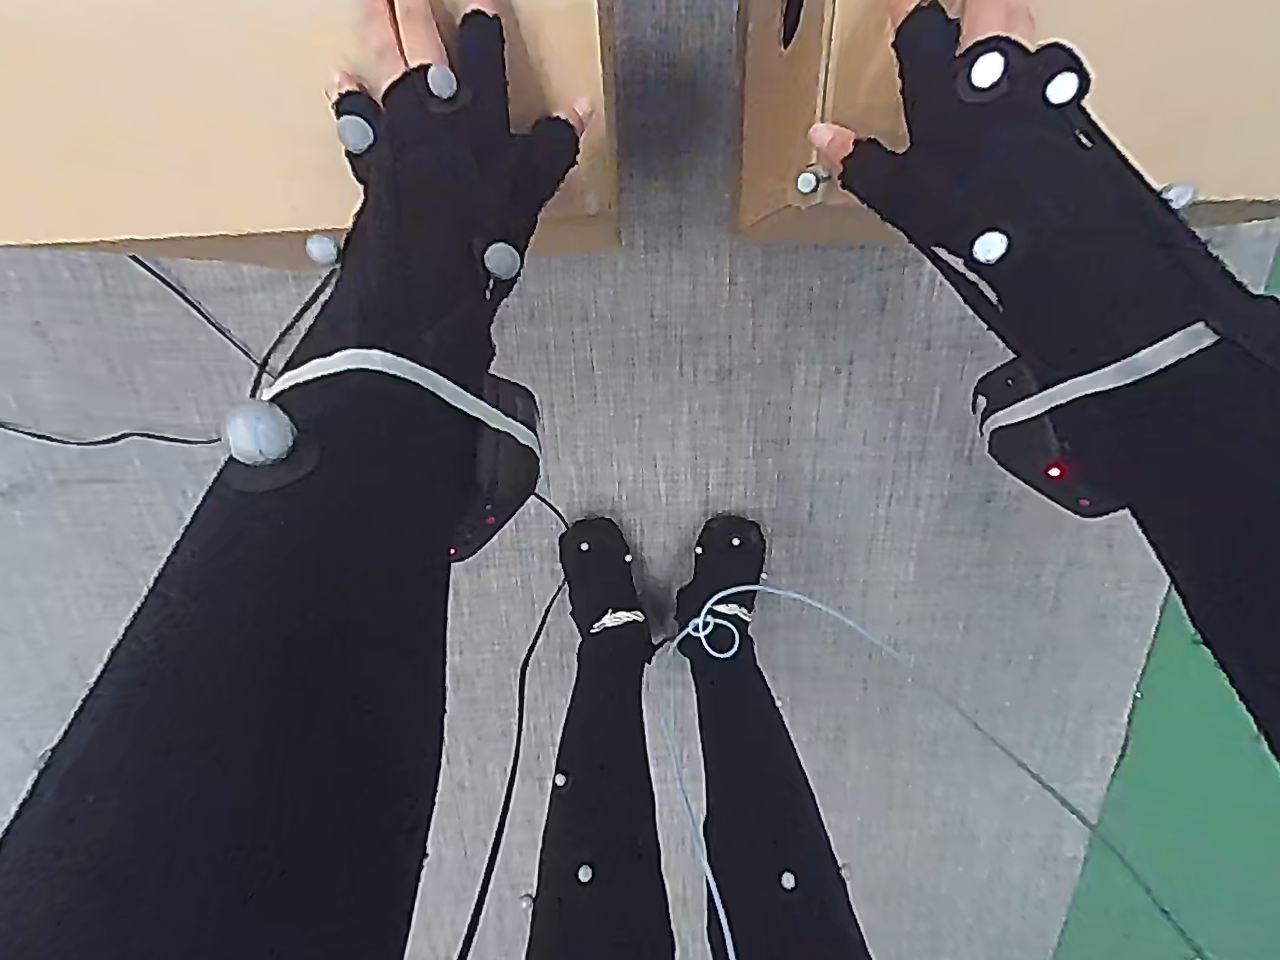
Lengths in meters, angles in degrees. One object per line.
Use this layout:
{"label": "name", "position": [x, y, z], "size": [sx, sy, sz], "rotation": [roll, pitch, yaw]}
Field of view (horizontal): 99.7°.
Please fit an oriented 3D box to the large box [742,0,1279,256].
{"label": "large box", "position": [0.319, -0.365, 0.460], "size": [0.408, 0.320, 0.320], "rotation": [0, 109, 0]}
